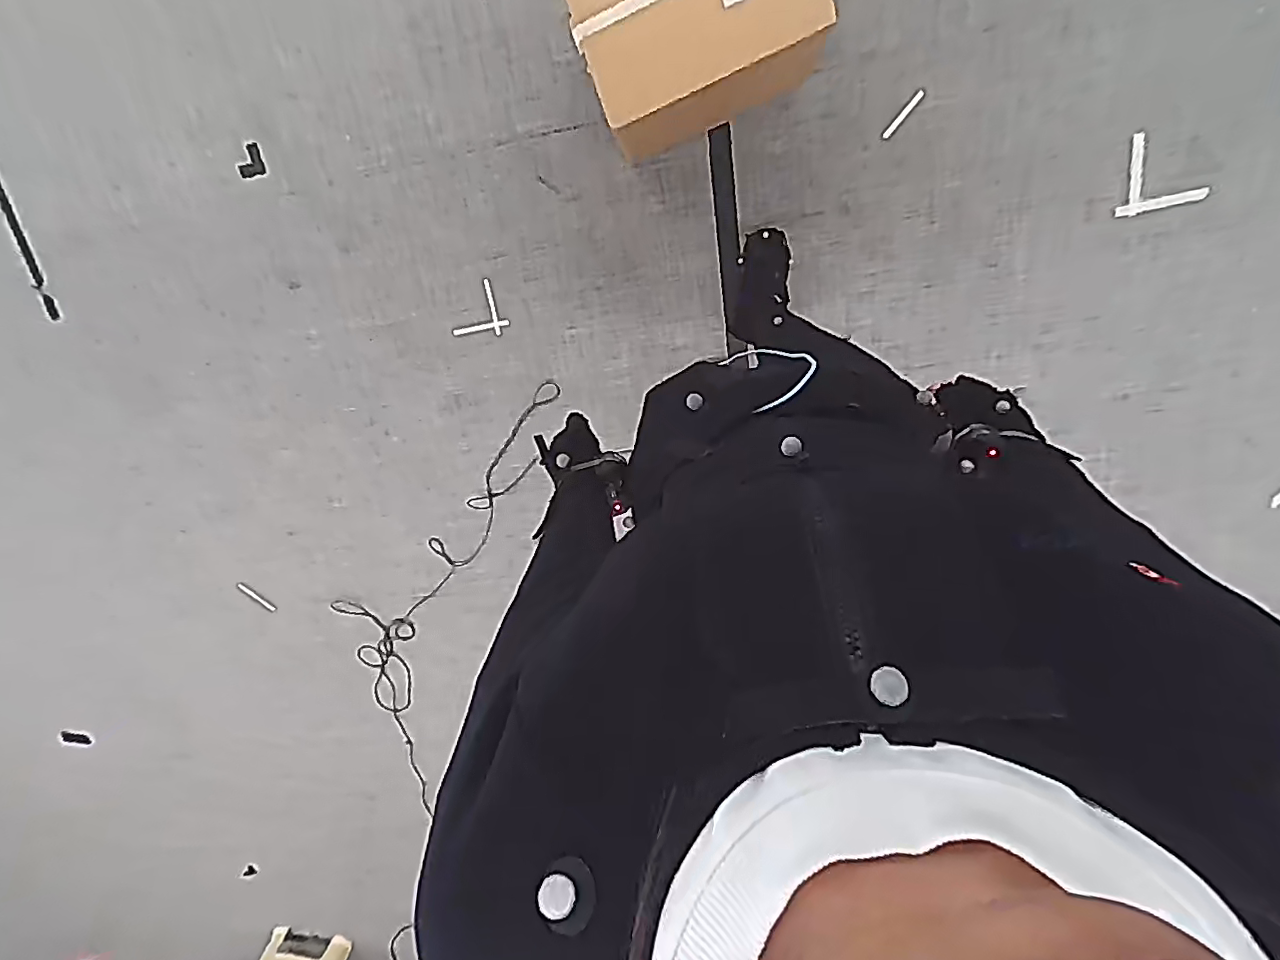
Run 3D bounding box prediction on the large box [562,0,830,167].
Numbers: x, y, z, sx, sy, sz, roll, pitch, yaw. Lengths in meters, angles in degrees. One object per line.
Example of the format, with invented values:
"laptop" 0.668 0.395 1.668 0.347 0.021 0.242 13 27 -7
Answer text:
"large box" 0.087 -0.867 1.025 0.408 0.320 0.320 -19 107 11
